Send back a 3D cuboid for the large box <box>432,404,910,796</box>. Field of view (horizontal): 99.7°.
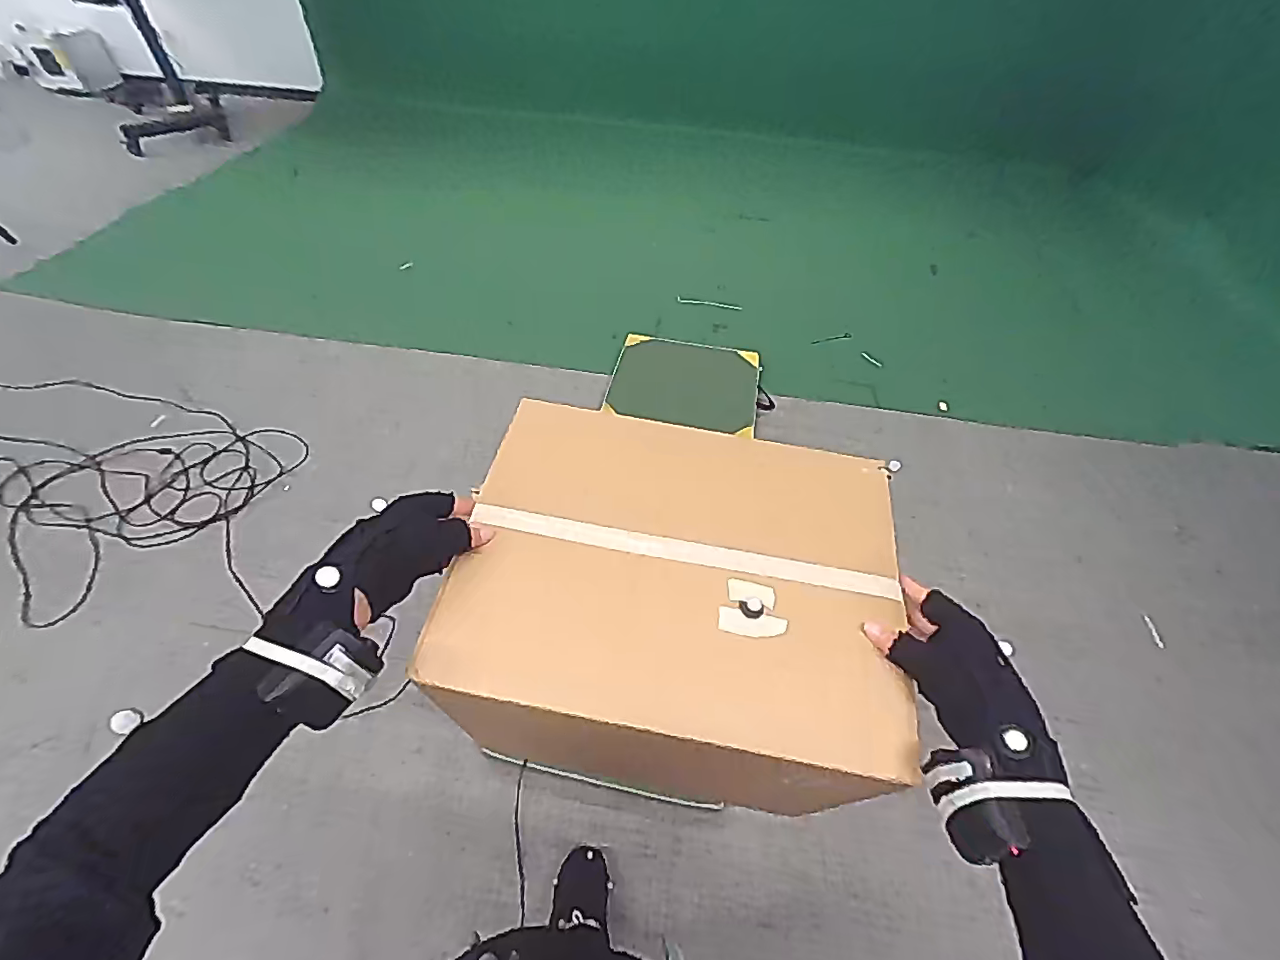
[{"bbox_3d":[0.033,0.152,0.643,0.408,0.320,0.320,11,55,2],"label":"large box"}]
